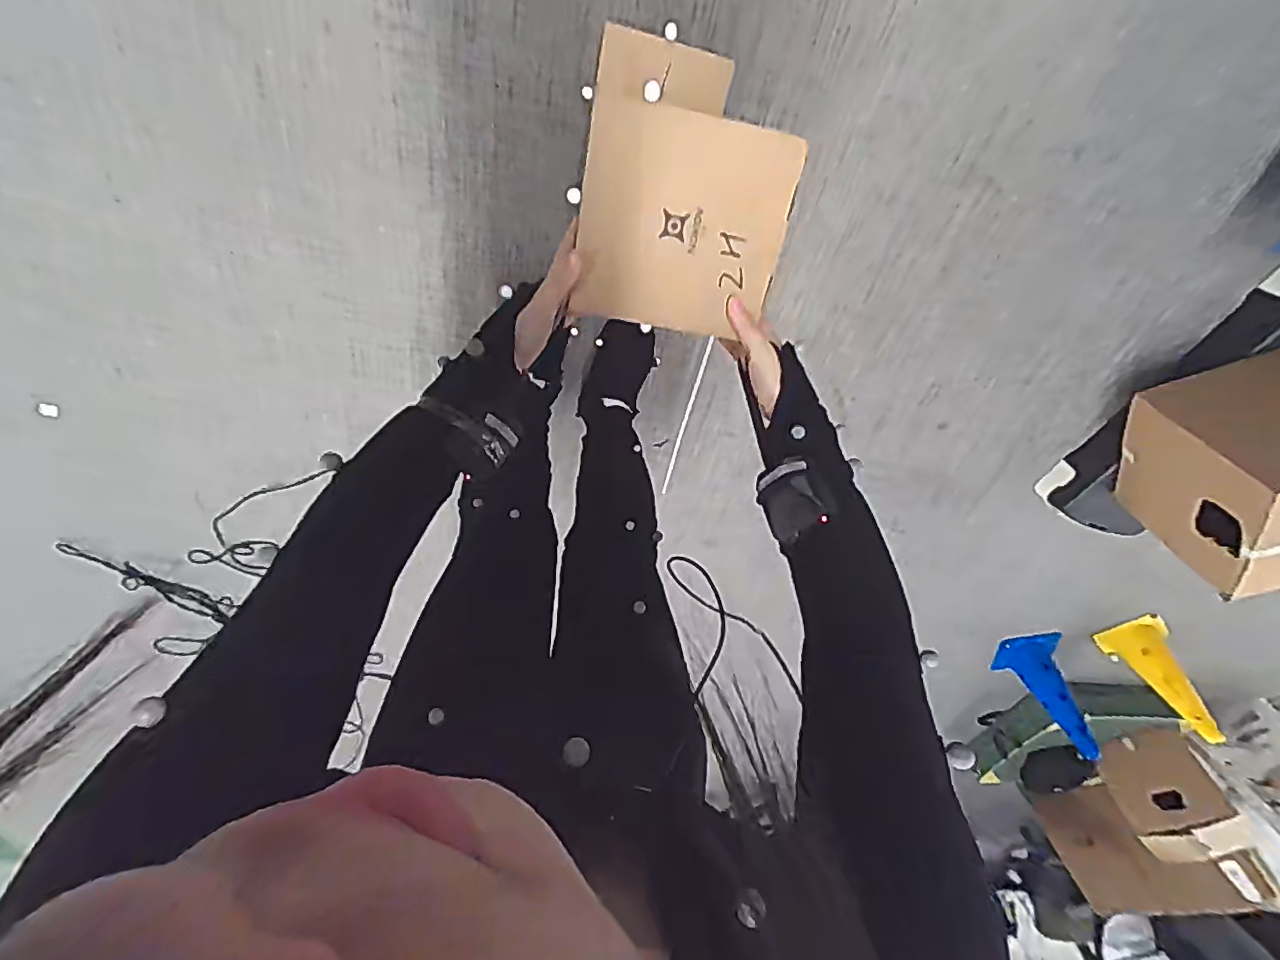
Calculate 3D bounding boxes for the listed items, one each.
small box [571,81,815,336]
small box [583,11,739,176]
[{"bbox_3d":[0.033,-0.254,0.519,0.179,0.176,0.168,7,120,-9],"label":"small box"},{"bbox_3d":[0.019,-0.512,0.746,0.168,0.176,0.179,8,130,-11],"label":"small box"}]
